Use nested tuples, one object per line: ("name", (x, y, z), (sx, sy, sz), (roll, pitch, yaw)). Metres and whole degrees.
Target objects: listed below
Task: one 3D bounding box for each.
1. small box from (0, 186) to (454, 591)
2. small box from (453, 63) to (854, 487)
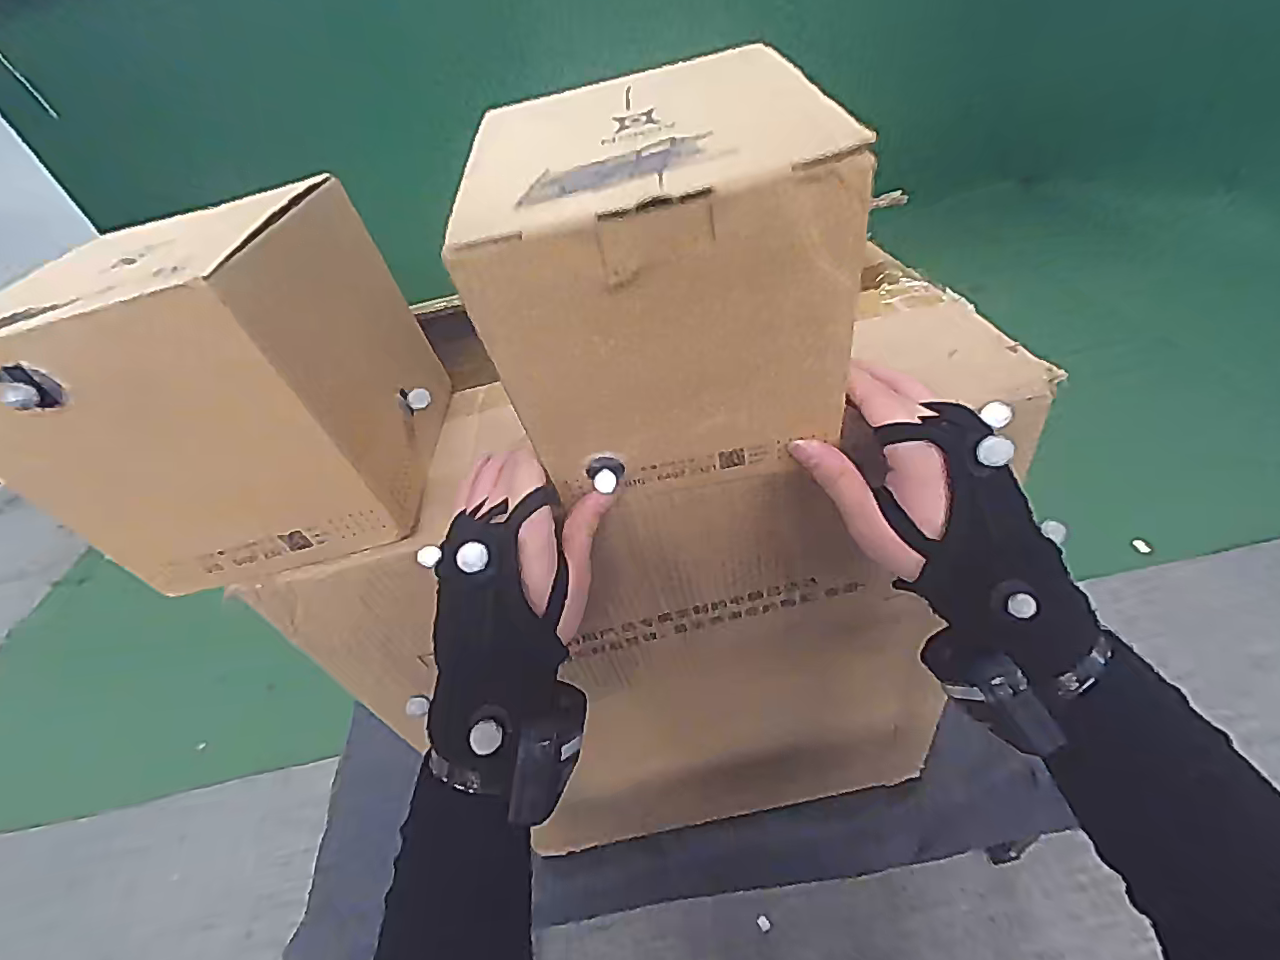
("small box", (-0.241, -0.059, 0.347), (0.168, 0.176, 0.179), (-15, 41, 5))
("small box", (0.013, -0.111, 0.323), (0.168, 0.176, 0.179), (-10, 46, 5))
